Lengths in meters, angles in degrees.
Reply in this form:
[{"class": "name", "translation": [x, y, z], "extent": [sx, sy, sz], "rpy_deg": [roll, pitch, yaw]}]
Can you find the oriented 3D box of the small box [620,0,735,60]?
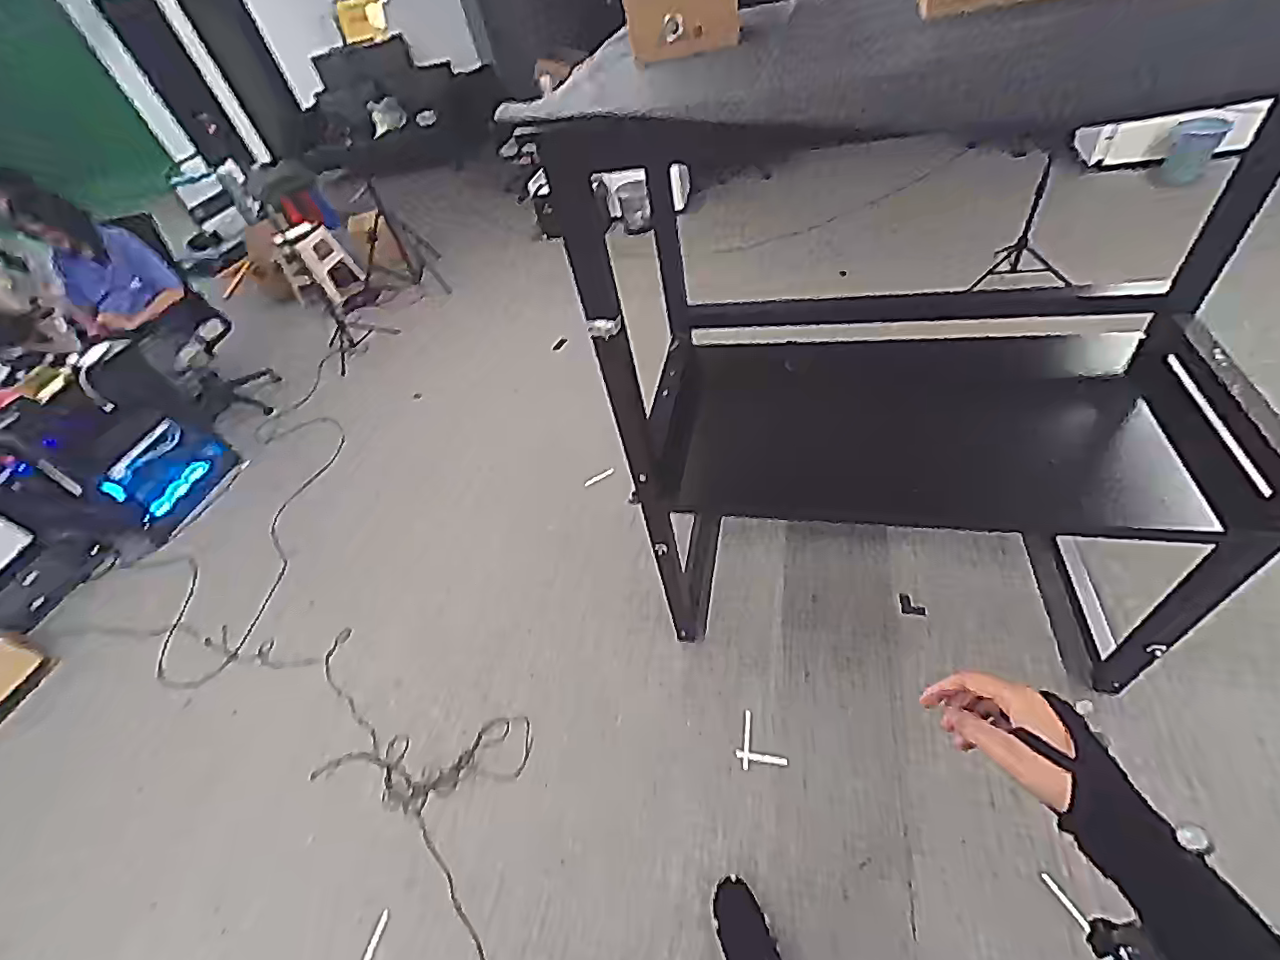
[{"class": "small box", "translation": [0.054, -0.767, 0.822], "extent": [0.168, 0.176, 0.179], "rpy_deg": [-5, 47, 10]}]
